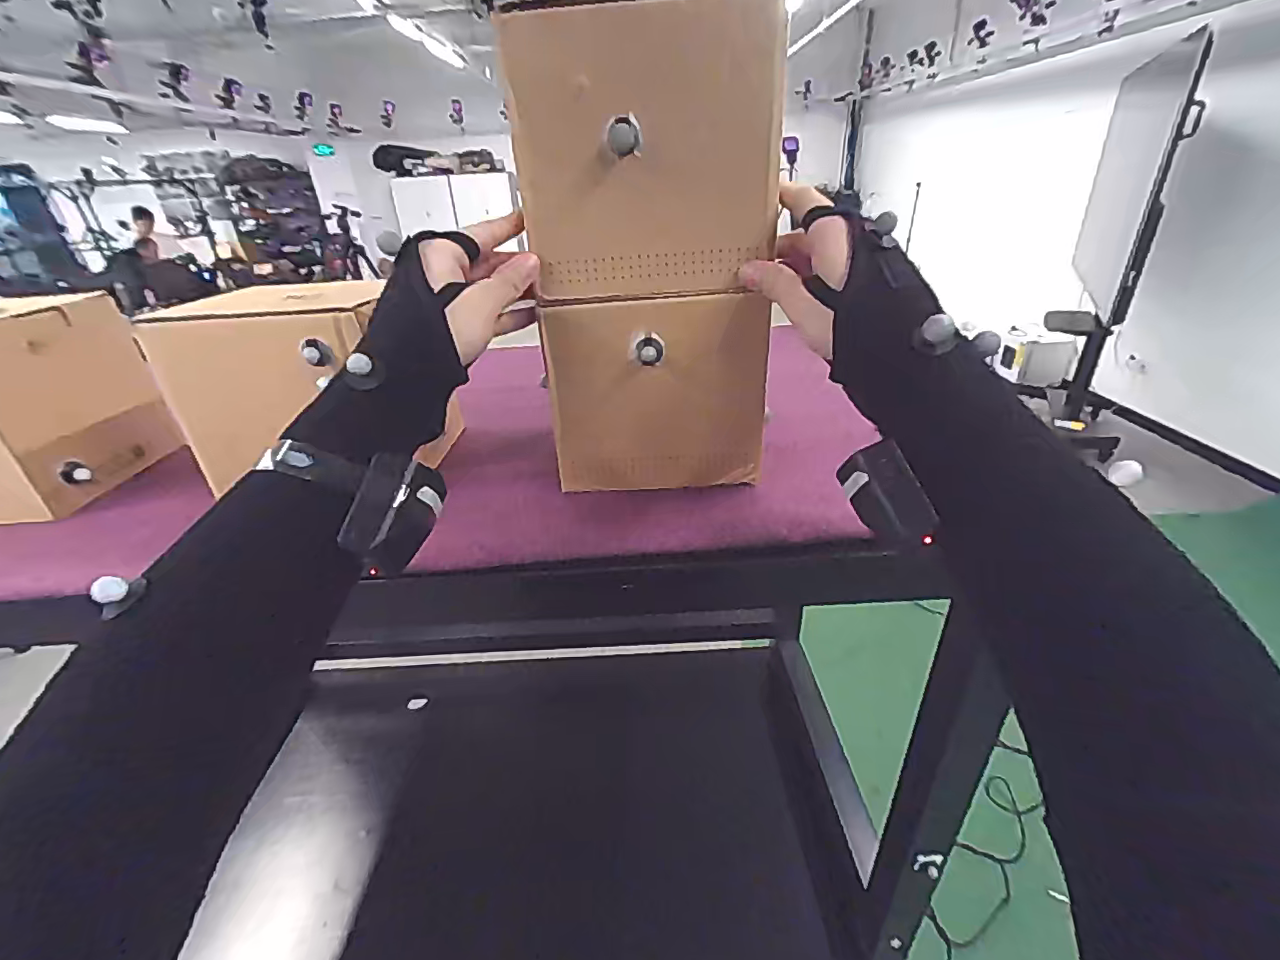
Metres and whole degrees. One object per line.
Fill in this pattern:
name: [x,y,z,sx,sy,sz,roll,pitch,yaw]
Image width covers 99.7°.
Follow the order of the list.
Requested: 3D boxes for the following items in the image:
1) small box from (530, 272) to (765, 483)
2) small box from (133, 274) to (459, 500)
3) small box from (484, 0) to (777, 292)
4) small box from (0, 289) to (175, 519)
small box: [0.014,-0.107,0.498,0.179,0.176,0.168,-3,32,3]
small box: [-0.293,-0.091,0.510,0.179,0.176,0.168,-3,29,0]
small box: [0.002,-0.248,0.417,0.179,0.176,0.168,-5,32,2]
small box: [-0.601,-0.070,0.503,0.179,0.176,0.168,-5,29,-1]
